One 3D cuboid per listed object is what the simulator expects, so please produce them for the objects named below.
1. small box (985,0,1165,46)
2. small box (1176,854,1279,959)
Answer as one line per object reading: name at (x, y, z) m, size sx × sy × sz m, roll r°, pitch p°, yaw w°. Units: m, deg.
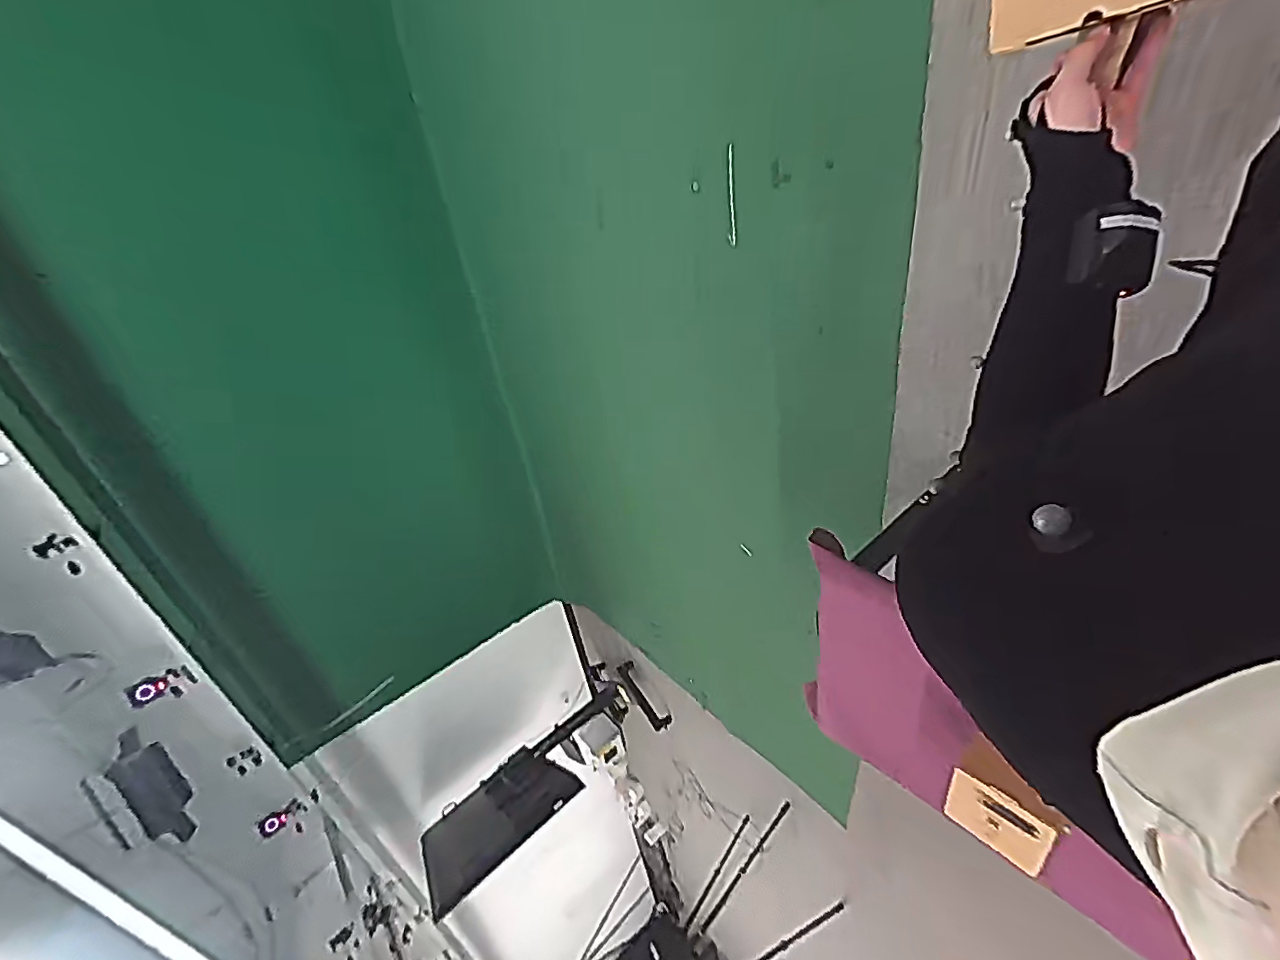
small box at (0.408, -0.481, 0.421) m, size 0.168 × 0.176 × 0.179 m, roll 33°, pitch 146°, yaw 54°
small box at (0.945, 0.714, 0.798) m, size 0.168 × 0.176 × 0.179 m, roll 26°, pitch 135°, yaw 44°
